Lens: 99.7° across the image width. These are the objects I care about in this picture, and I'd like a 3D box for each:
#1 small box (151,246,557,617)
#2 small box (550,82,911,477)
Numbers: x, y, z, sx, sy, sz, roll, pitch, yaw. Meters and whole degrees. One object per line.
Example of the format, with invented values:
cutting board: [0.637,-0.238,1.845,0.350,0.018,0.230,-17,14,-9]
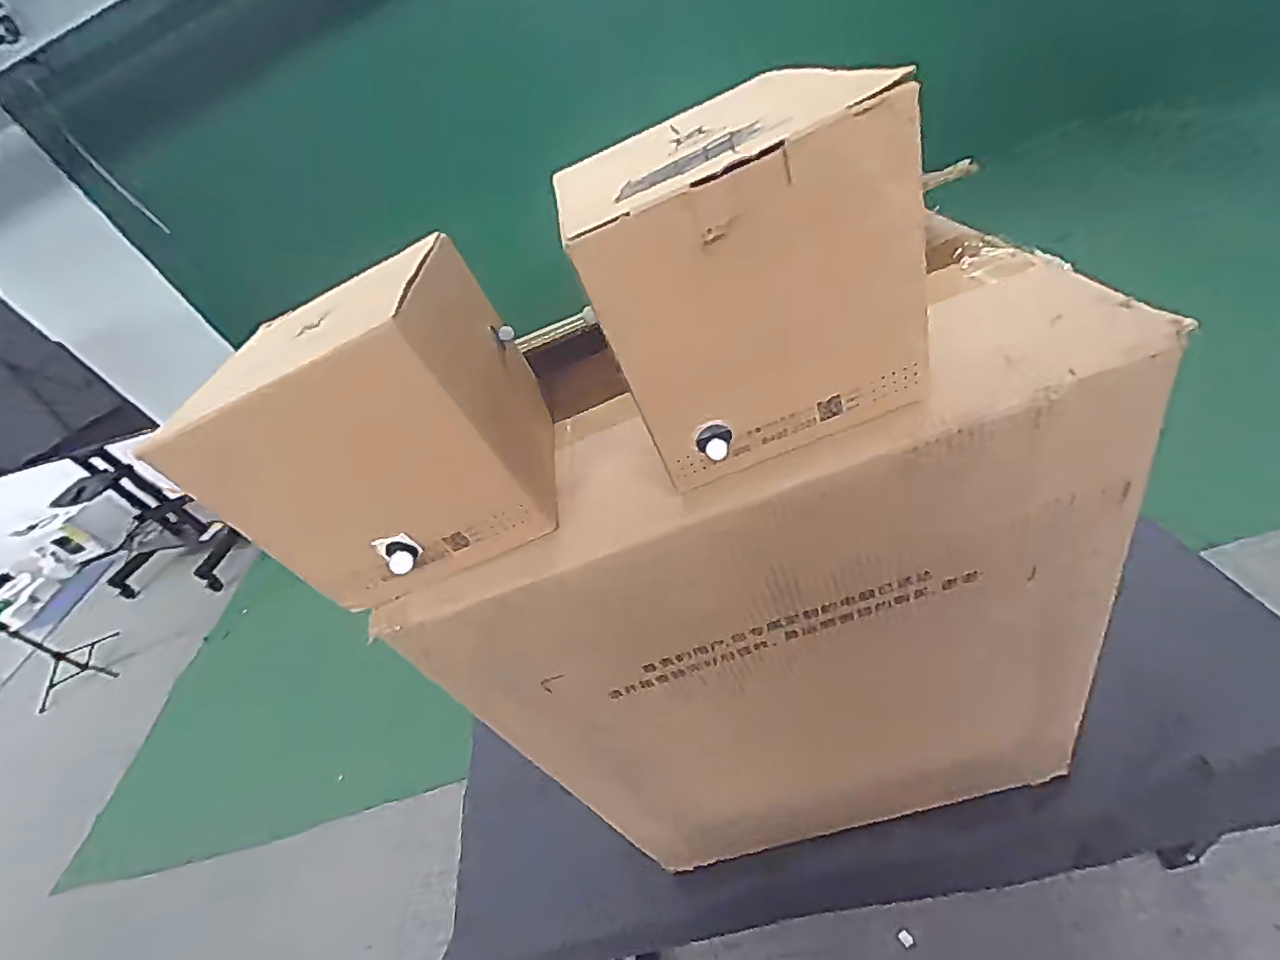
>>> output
small box: [-0.173,-0.035,0.395,0.168,0.176,0.179,-25,39,8]
small box: [0.054,-0.123,0.352,0.168,0.176,0.179,-22,37,6]
